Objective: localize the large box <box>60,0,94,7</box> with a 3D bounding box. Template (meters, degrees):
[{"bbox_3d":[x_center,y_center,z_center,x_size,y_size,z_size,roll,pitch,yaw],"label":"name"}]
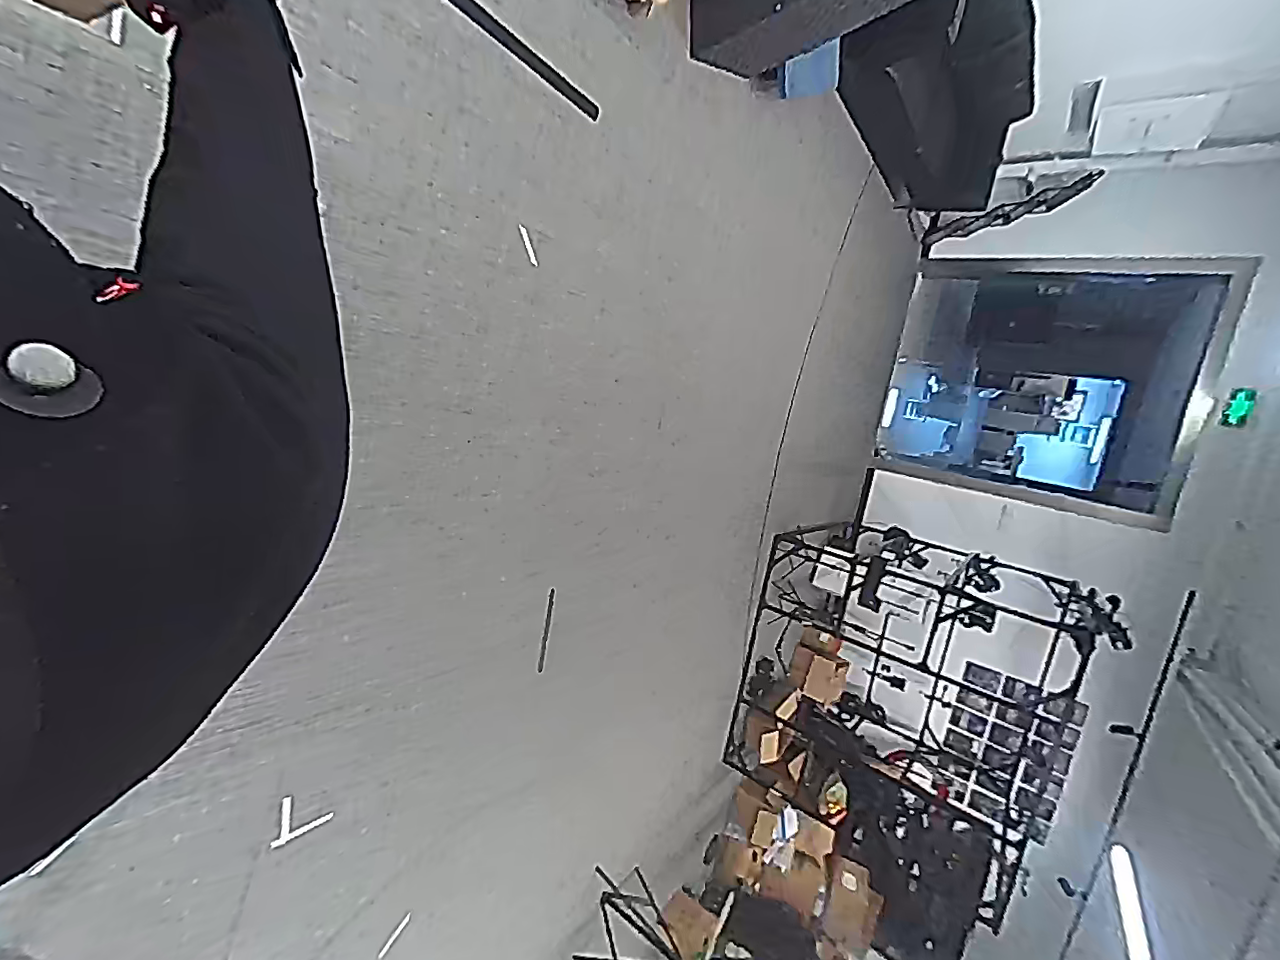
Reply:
[{"bbox_3d":[-0.536,-0.555,0.278,0.408,0.320,0.320,-6,117,-54],"label":"large box"}]
